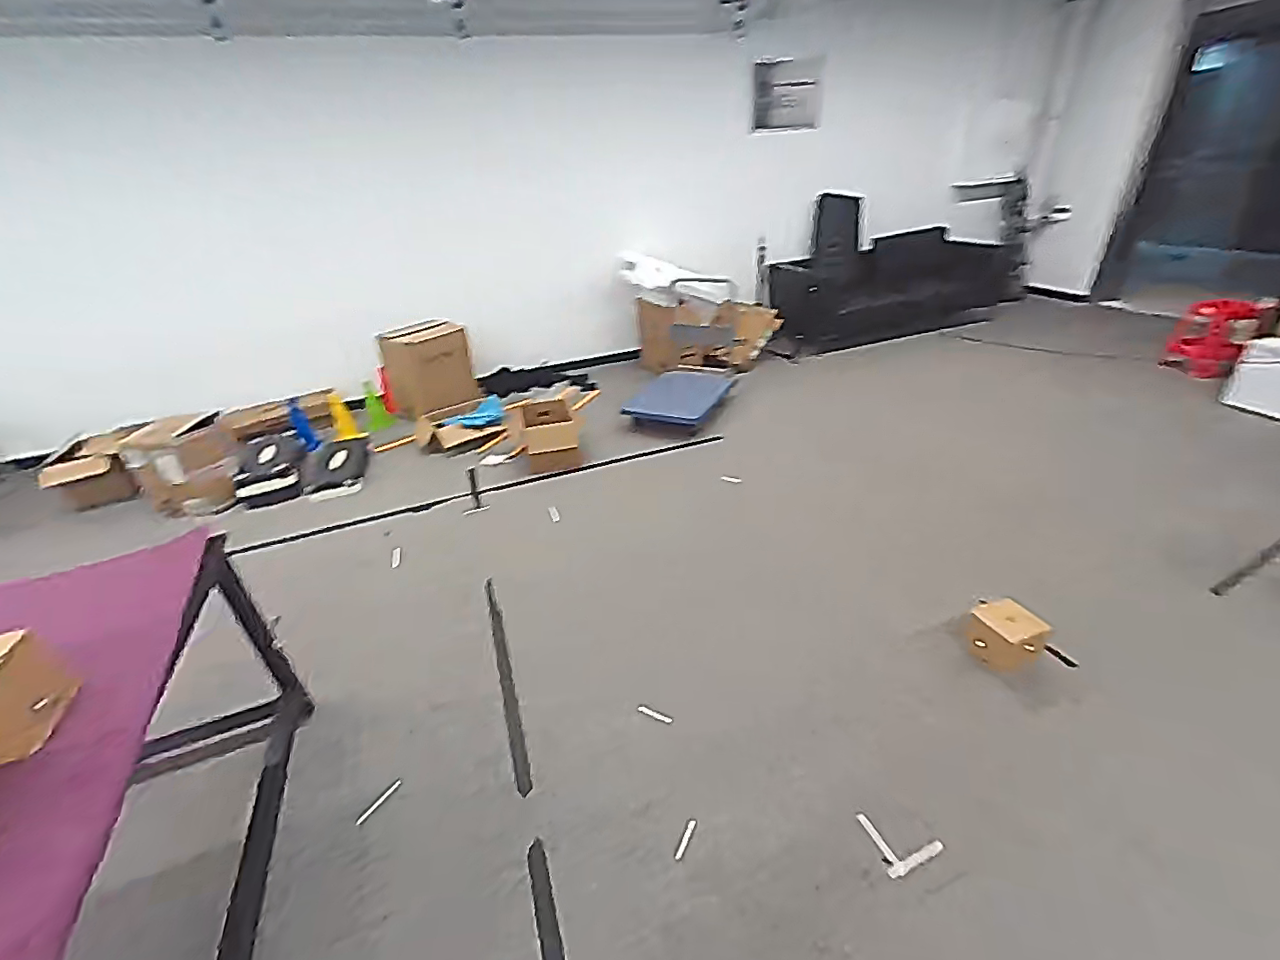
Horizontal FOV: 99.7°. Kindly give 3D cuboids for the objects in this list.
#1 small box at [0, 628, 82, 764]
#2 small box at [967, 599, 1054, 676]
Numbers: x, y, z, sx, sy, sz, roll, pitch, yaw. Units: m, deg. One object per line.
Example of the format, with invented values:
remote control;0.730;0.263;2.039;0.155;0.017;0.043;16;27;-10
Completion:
small box;-1.193;0.406;0.977;0.179;0.176;0.168;-14;31;-17
small box;1.267;0.546;1.866;0.179;0.176;0.168;-12;31;-14
